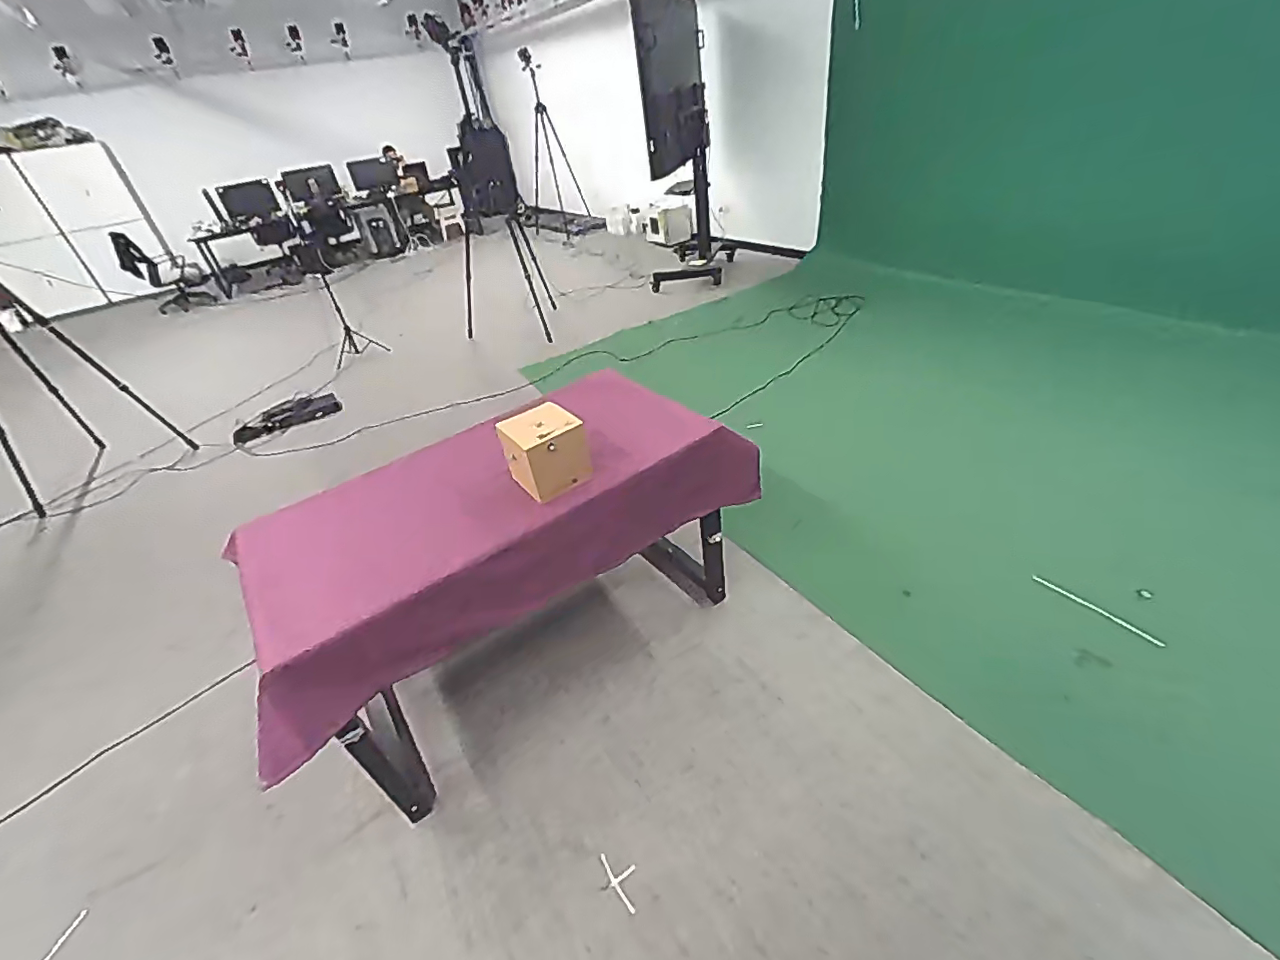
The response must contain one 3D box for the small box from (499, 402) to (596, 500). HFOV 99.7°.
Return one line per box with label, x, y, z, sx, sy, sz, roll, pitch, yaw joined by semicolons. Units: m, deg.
small box;-0.236;-0.075;1.395;0.168;0.176;0.179;-30;40;-24
